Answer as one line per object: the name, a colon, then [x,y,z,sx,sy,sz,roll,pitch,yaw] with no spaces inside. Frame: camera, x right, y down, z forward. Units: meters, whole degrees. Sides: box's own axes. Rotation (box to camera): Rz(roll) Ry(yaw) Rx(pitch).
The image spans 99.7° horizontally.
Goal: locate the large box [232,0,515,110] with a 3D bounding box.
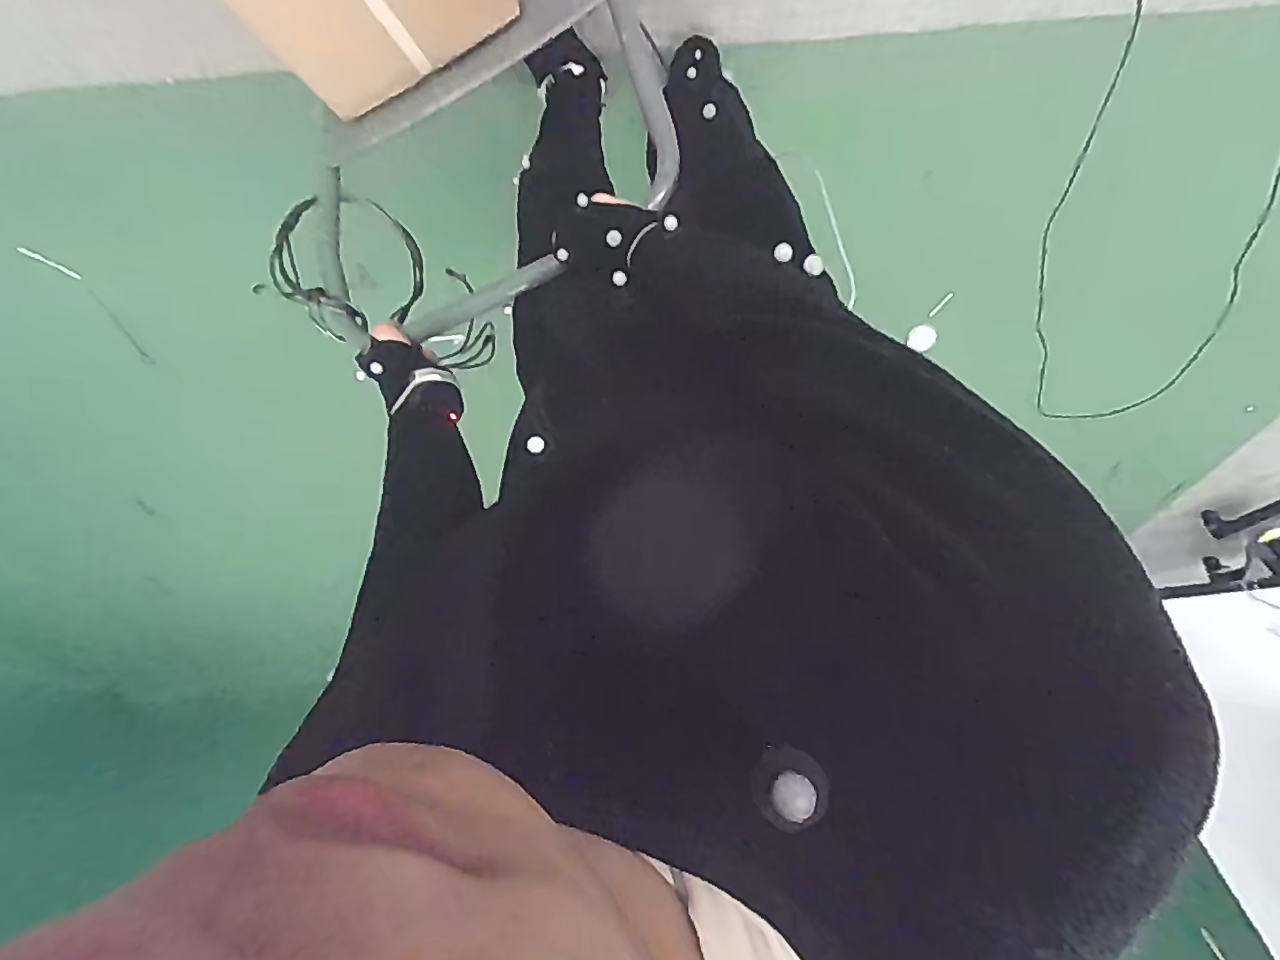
large box: [-0.396,-0.773,0.630,0.320,0.320,0.408,-18,160,15]
